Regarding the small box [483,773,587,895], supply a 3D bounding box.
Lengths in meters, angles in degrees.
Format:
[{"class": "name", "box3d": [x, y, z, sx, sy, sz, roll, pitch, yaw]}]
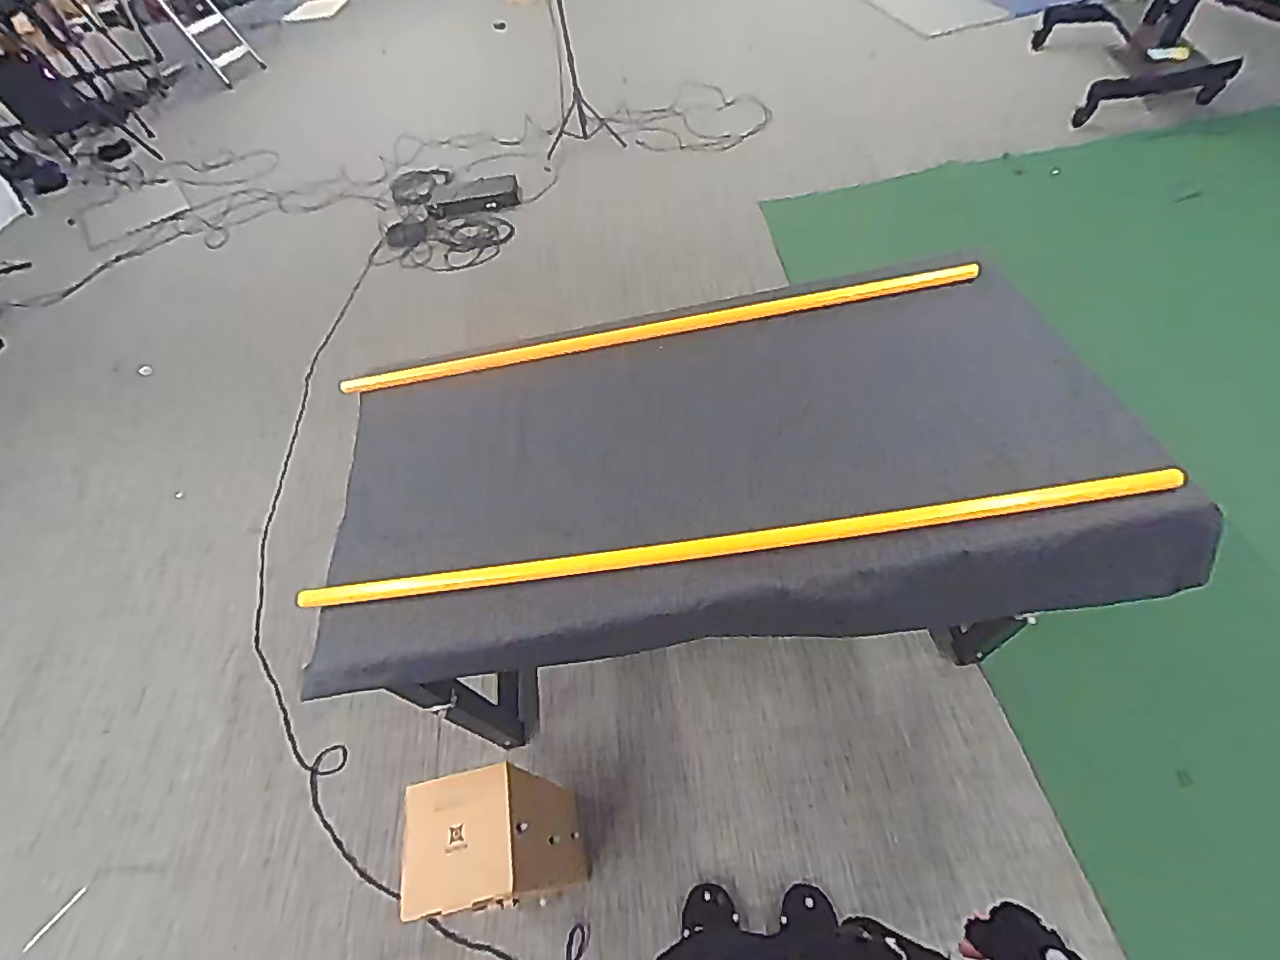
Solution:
[{"class": "small box", "box3d": [-0.219, 0.749, 1.148, 0.168, 0.176, 0.179, -17, 56, -2]}]
